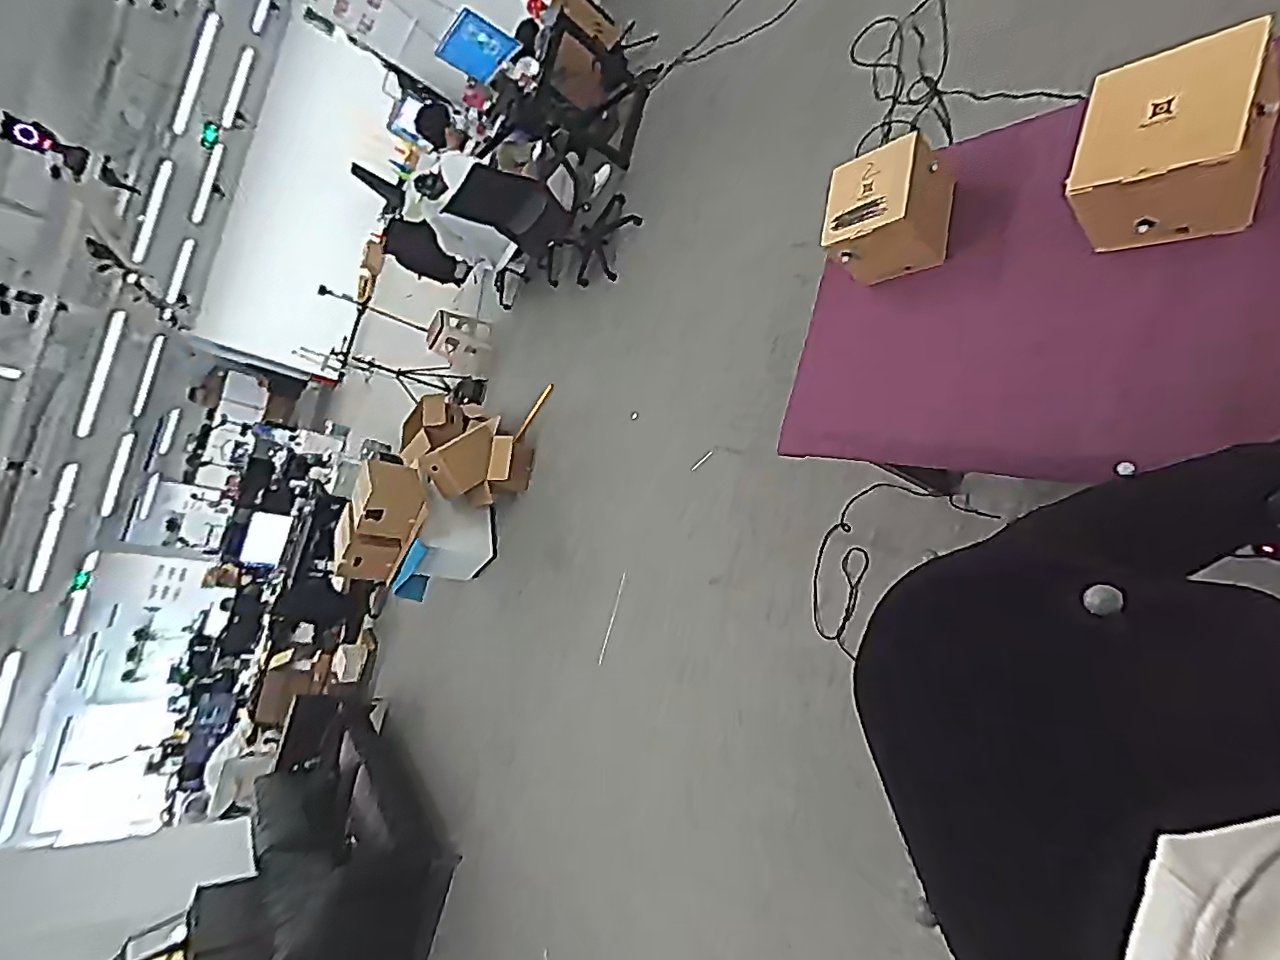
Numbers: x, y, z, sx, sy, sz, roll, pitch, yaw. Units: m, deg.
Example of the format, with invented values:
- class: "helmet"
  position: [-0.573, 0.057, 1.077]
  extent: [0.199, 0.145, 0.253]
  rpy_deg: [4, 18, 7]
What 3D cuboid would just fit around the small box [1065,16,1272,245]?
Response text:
- class: "small box"
  position: [0.720, -0.455, 0.739]
  extent: [0.168, 0.176, 0.179]
  rpy_deg: [13, 88, 51]
